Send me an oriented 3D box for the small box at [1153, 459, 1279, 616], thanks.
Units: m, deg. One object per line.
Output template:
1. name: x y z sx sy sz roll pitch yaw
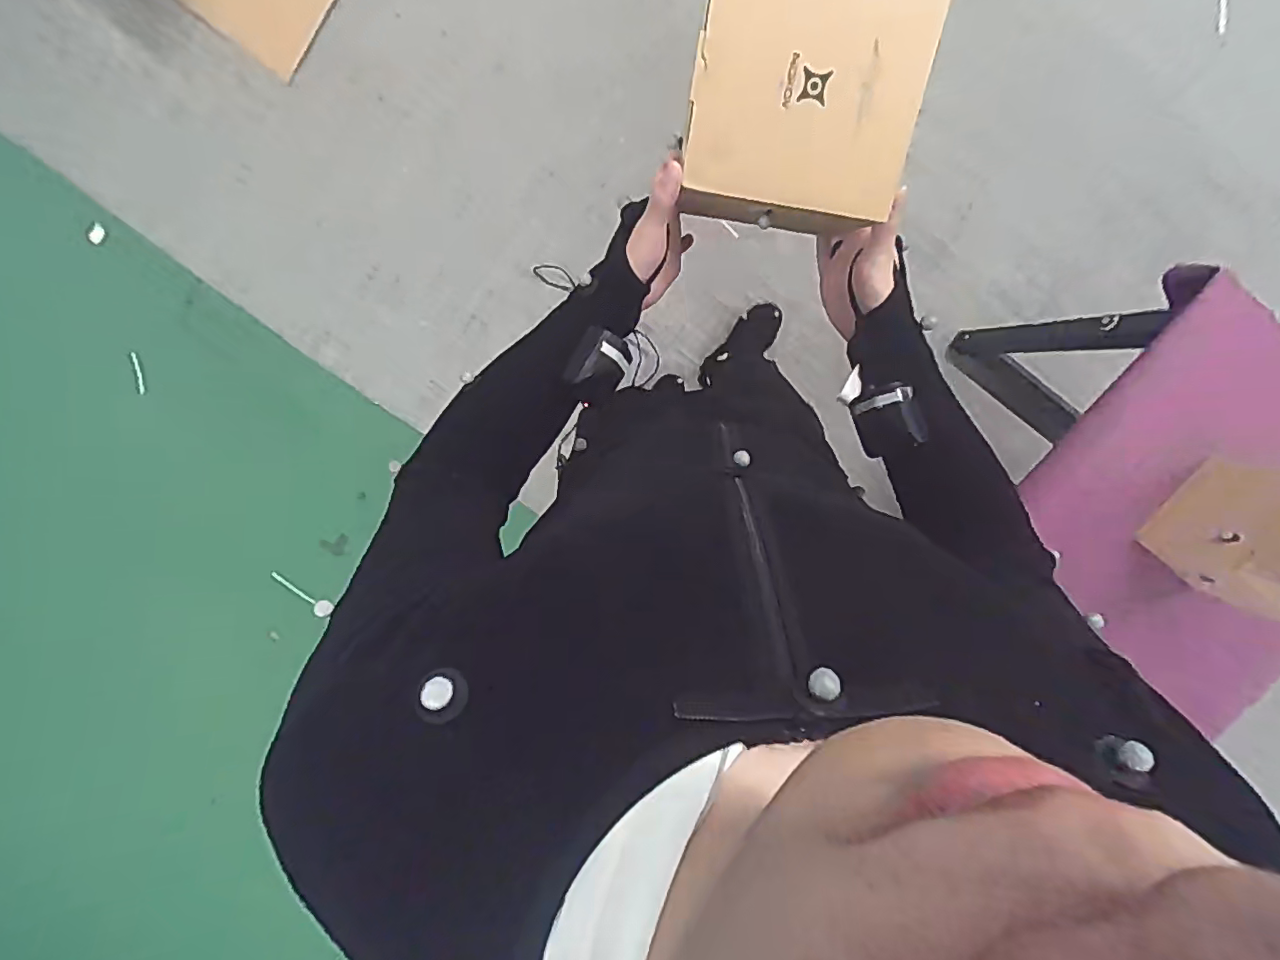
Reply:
1. small box: 0.972 0.091 0.844 0.168 0.176 0.179 37 100 -8

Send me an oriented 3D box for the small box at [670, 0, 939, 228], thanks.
1. small box: 0.125 -0.331 0.487 0.179 0.176 0.168 9 111 -2
